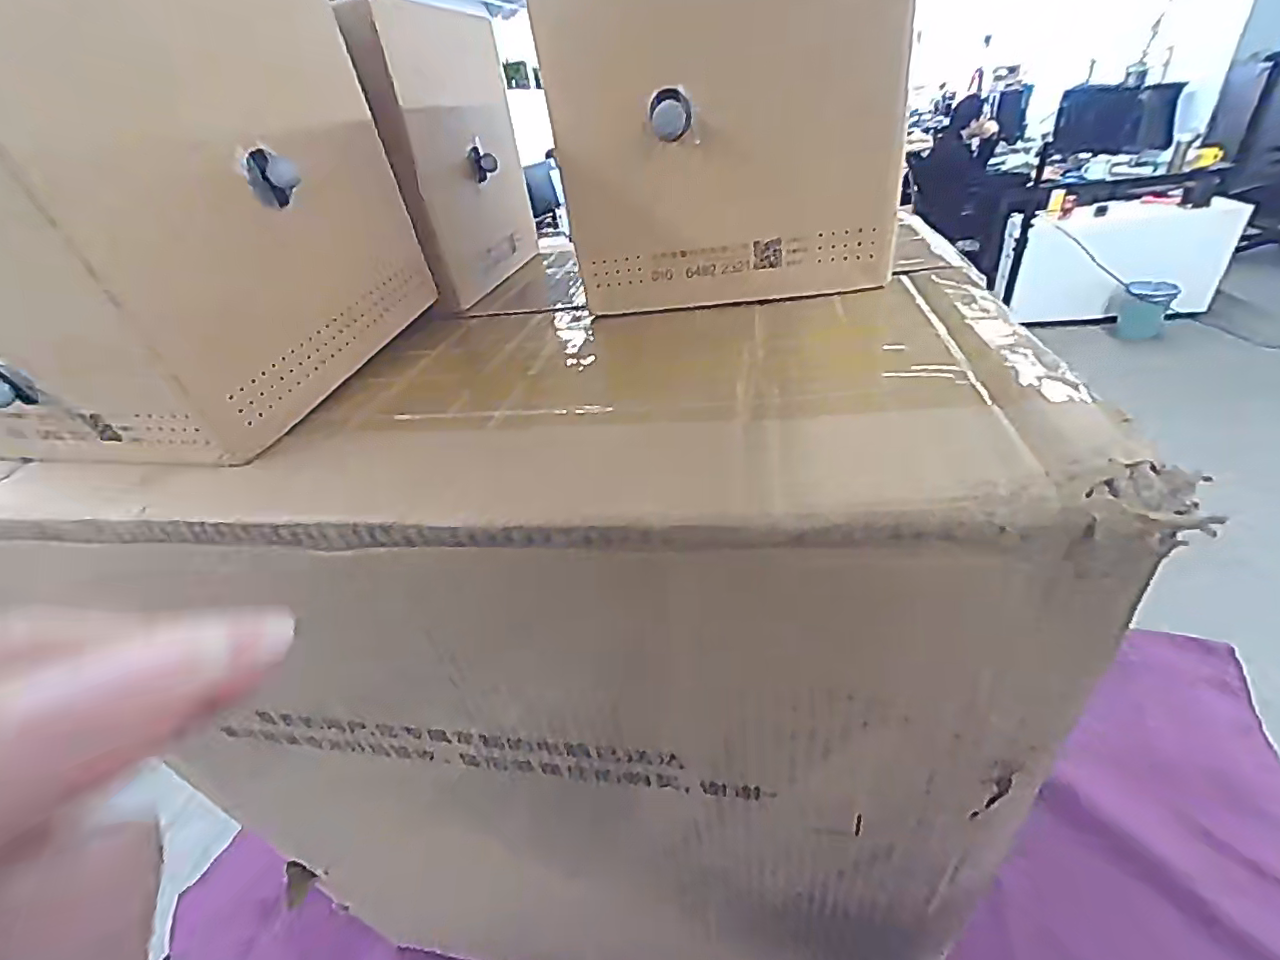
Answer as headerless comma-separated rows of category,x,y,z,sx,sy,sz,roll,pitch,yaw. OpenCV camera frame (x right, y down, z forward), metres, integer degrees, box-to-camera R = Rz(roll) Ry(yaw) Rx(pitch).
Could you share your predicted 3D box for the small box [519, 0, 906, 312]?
small box,0.052,-0.206,0.321,0.168,0.176,0.179,-2,34,13
